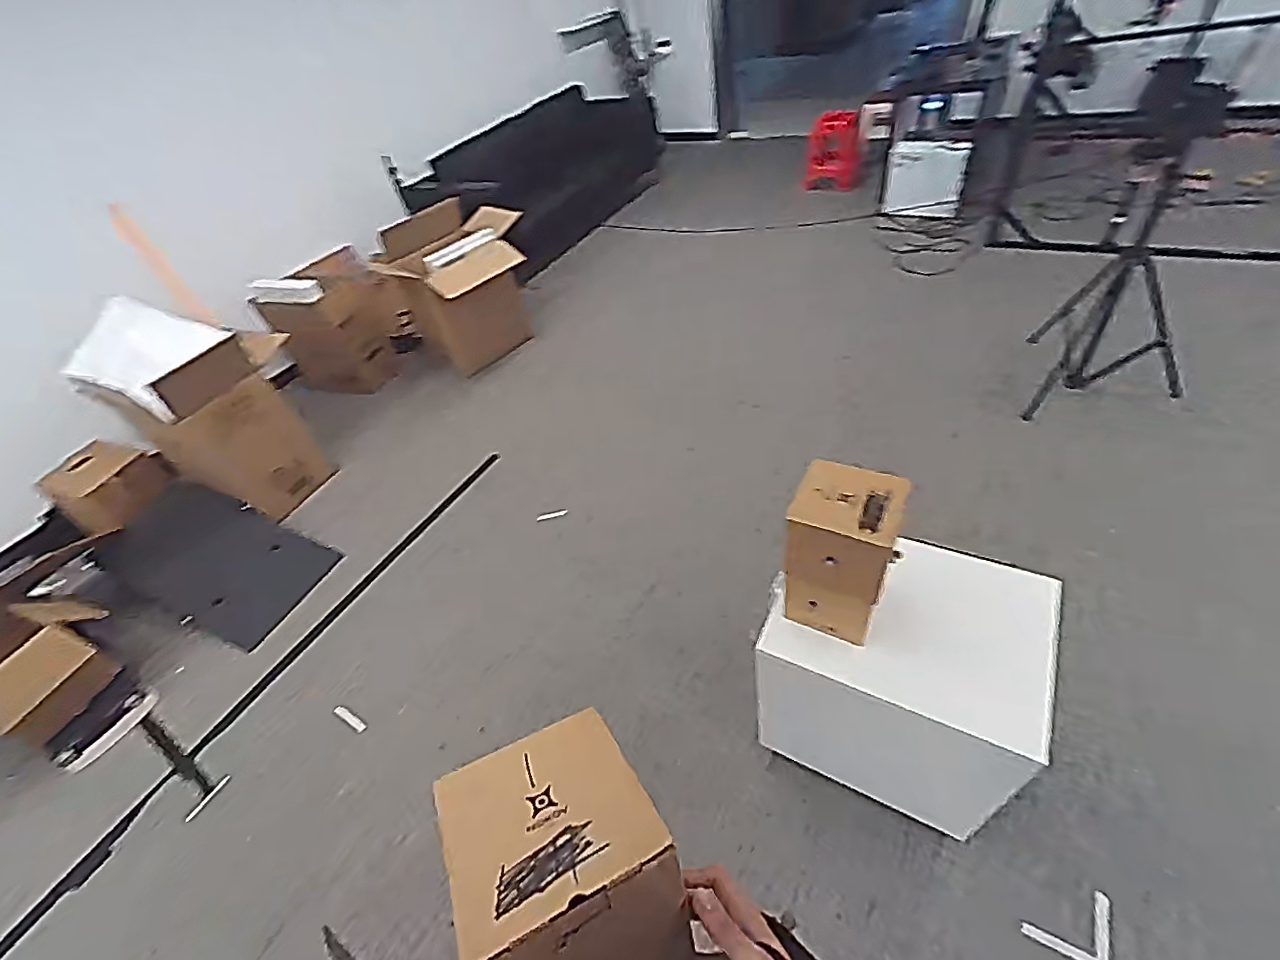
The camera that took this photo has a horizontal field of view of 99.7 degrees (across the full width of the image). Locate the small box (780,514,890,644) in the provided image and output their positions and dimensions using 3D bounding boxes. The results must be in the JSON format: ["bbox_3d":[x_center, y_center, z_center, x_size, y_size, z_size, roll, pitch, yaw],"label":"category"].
[{"bbox_3d":[0.398,0.205,1.110,0.168,0.176,0.179,17,51,27],"label":"small box"}]

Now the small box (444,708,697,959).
[{"bbox_3d":[-0.063,0.354,0.485,0.168,0.176,0.179,-17,23,-21],"label":"small box"}]
